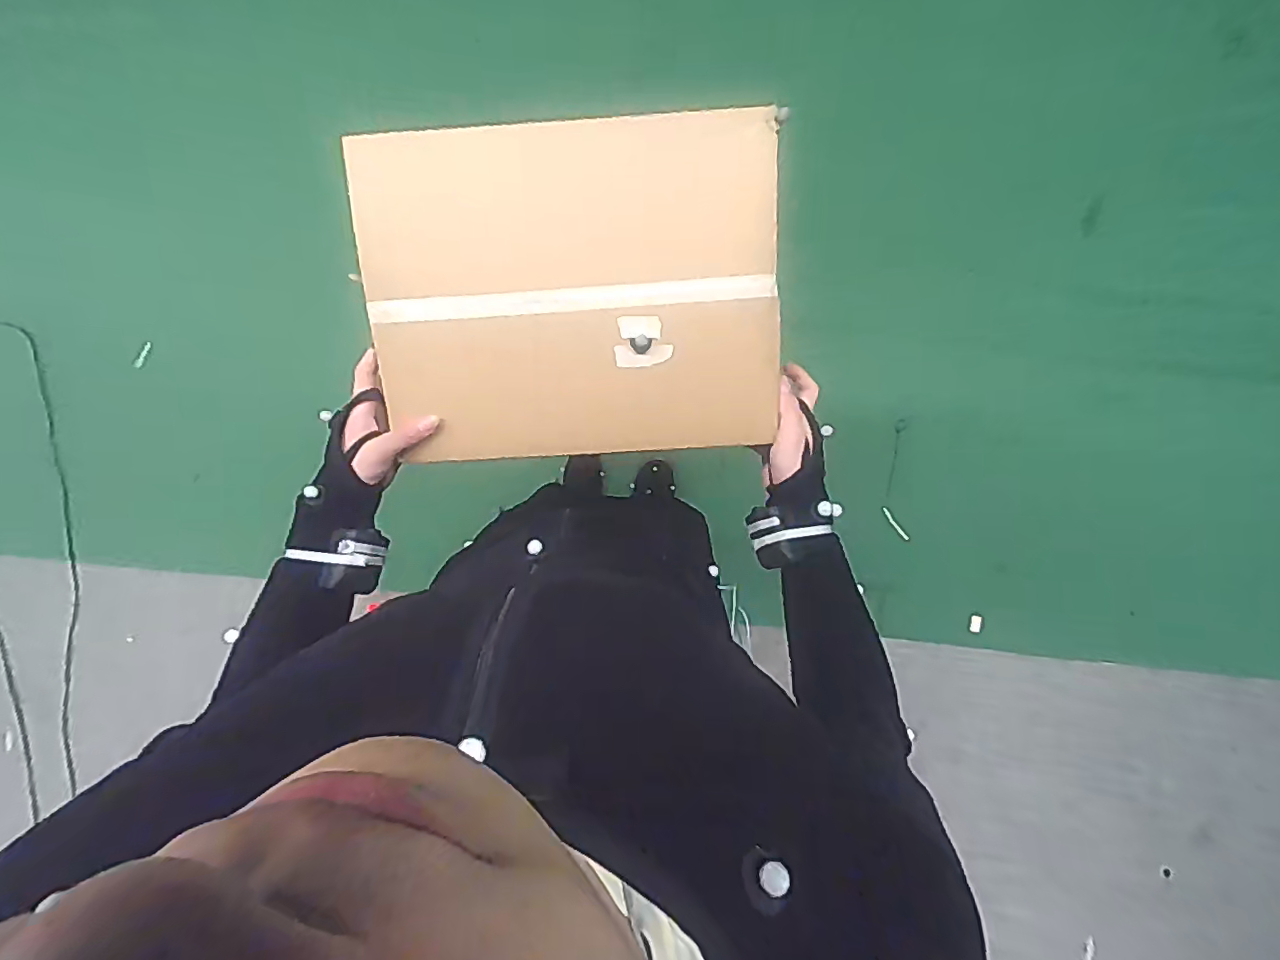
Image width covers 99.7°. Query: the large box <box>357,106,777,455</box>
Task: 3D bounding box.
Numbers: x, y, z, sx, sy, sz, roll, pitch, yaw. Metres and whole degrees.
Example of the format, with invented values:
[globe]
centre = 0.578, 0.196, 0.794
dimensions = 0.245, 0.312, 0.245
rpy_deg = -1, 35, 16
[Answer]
[large box]
centre = -0.064, -0.222, 0.686
dimensions = 0.408, 0.320, 0.320
rpy_deg = -3, 104, 1
